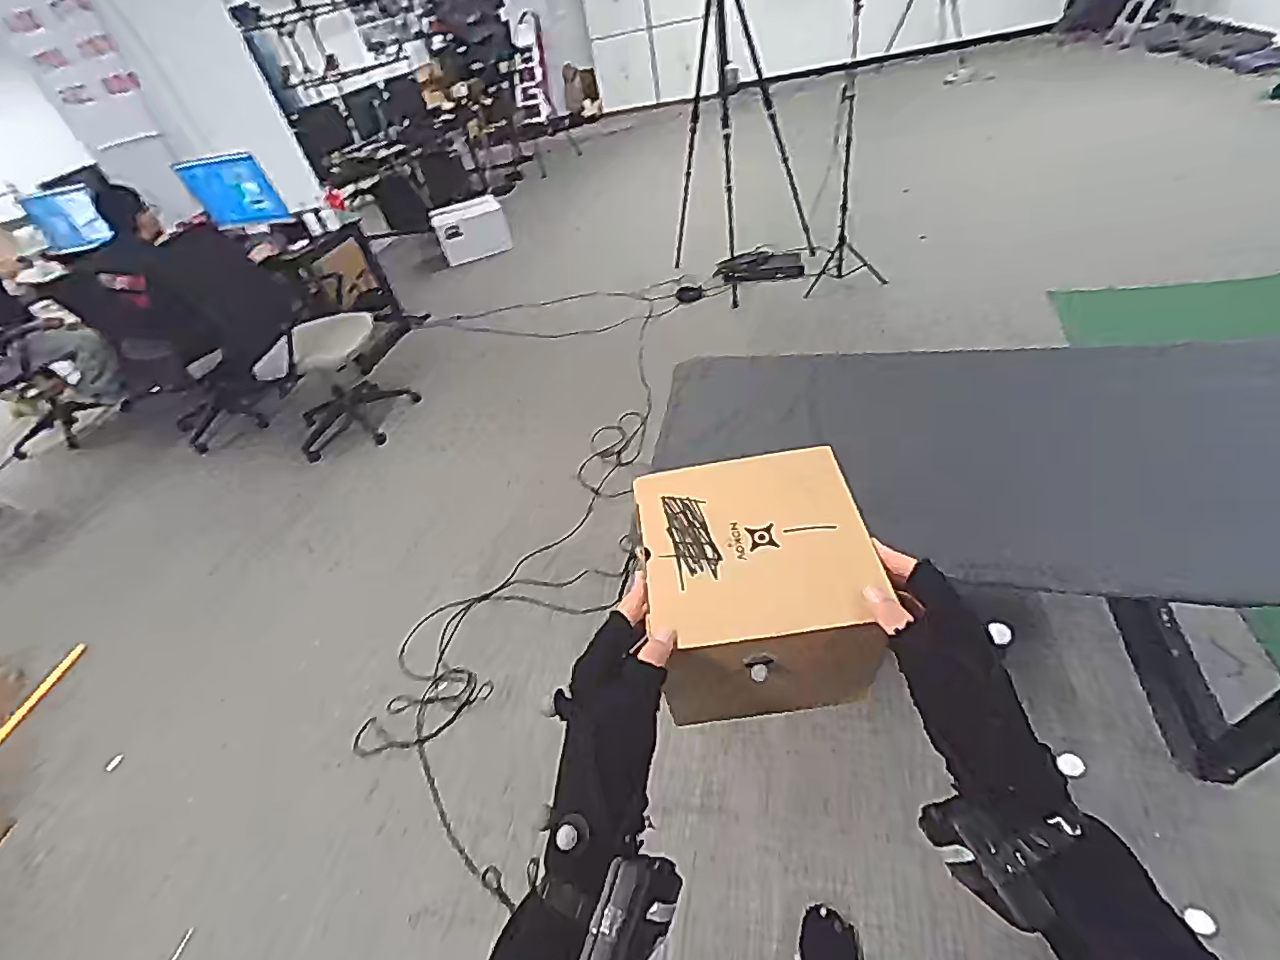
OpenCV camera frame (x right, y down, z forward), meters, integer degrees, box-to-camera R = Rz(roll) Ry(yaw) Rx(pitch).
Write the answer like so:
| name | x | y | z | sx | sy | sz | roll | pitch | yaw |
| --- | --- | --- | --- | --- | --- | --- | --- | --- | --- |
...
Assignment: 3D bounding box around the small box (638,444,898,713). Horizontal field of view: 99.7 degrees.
| name | x | y | z | sx | sy | sz | roll | pitch | yaw |
| --- | --- | --- | --- | --- | --- | --- | --- | --- | --- |
| small box | 0.101 | 0.094 | 0.485 | 0.179 | 0.176 | 0.168 | -9 | 49 | 4 |
